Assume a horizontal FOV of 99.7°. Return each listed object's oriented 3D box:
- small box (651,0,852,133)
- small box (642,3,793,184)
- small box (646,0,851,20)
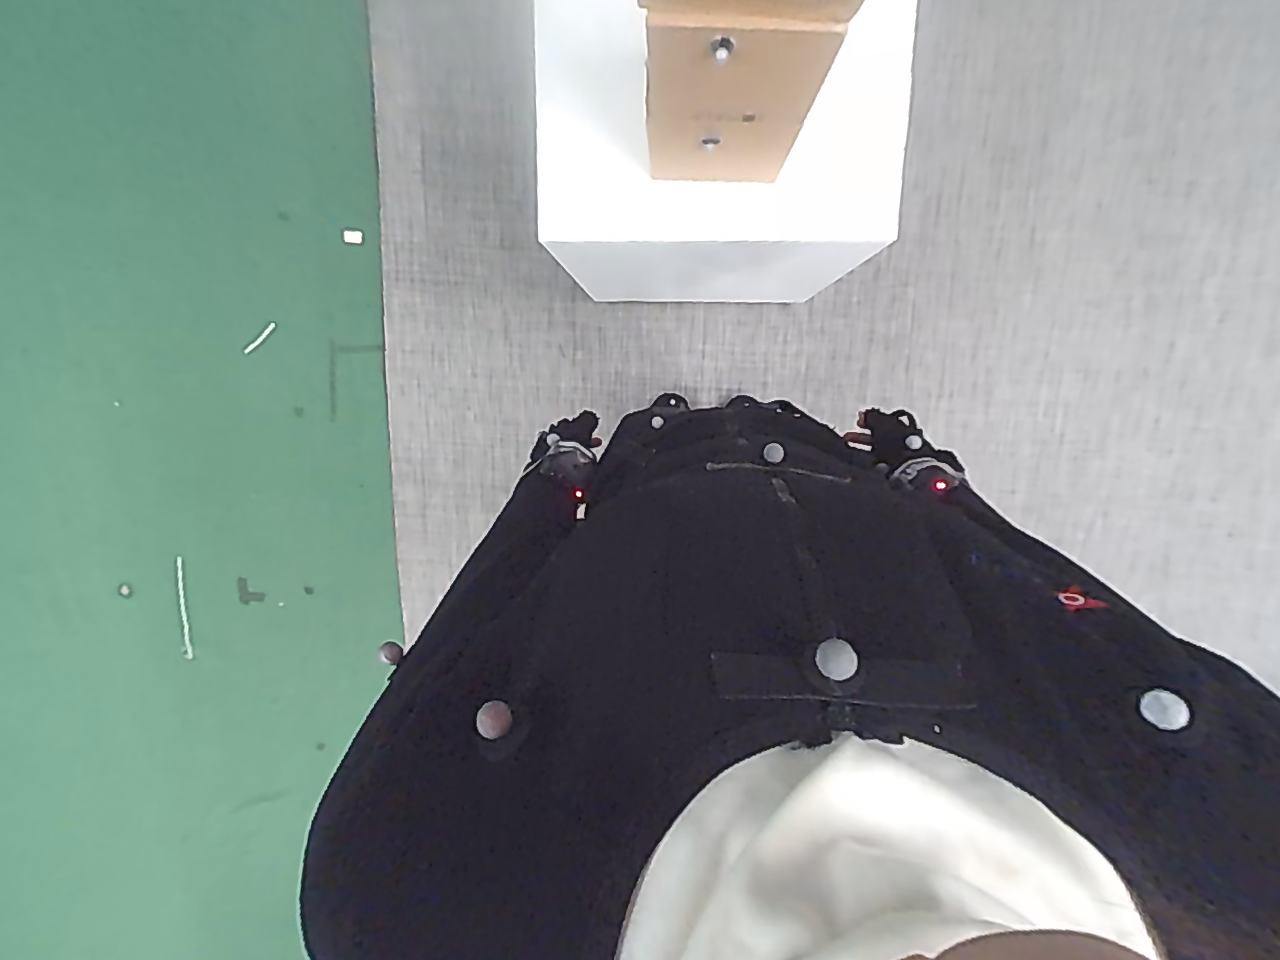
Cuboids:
[{"bbox_3d":[0.095,-0.464,0.510,0.168,0.176,0.179,2,100,2],"label":"small box"},{"bbox_3d":[0.098,-0.486,0.669,0.179,0.176,0.168,3,99,2],"label":"small box"},{"bbox_3d":[0.084,-0.442,0.347,0.179,0.176,0.168,5,101,2],"label":"small box"}]
